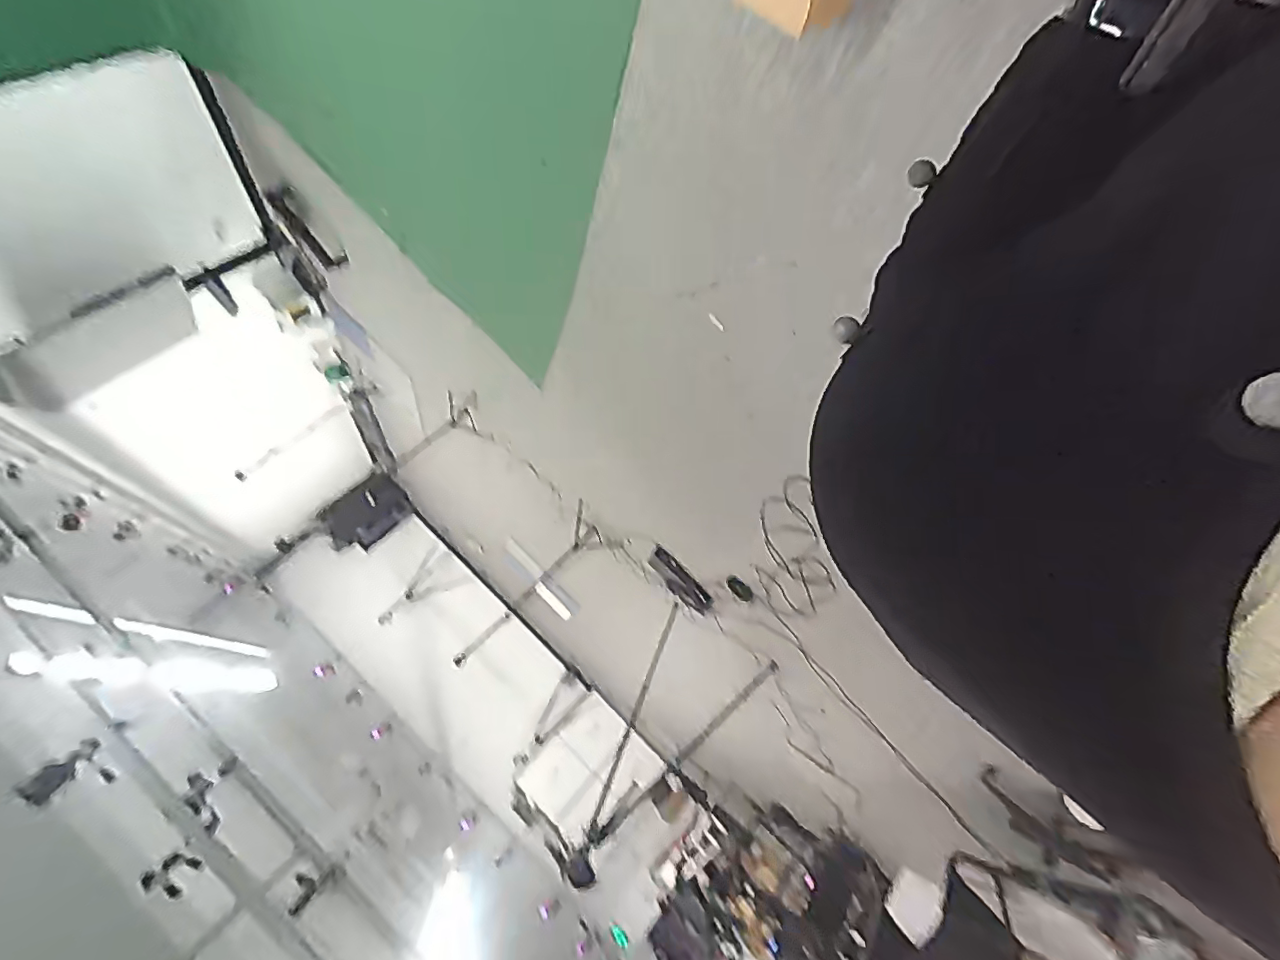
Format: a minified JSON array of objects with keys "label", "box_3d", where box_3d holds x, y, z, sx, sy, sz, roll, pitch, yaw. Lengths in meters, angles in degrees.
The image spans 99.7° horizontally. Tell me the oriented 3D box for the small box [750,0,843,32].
[{"label":"small box","box_3d":[0.312,-0.995,1.011,0.179,0.176,0.168,42,153,10]}]
